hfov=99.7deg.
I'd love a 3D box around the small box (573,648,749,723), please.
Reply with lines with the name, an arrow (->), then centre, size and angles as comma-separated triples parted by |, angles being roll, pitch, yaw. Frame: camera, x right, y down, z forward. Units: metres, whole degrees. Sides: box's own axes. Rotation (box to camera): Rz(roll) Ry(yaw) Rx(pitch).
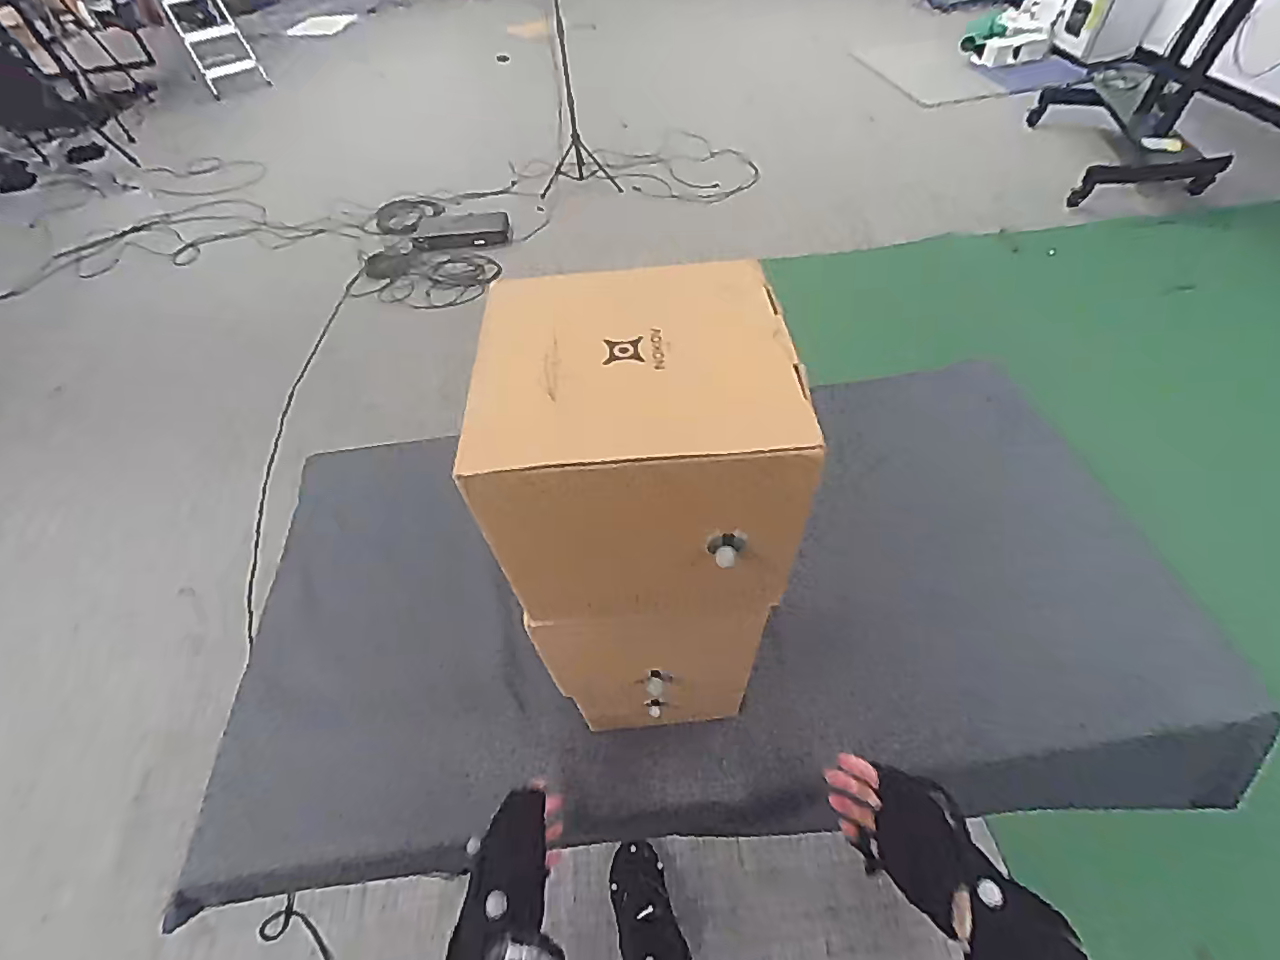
small box -> 0.018, 0.171, 0.629 | 0.179, 0.176, 0.168 | -6, 52, 0

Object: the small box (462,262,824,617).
small box -> 0.003, -0.021, 0.366 | 0.179, 0.176, 0.168 | -5, 51, 1

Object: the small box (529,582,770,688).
small box -> 0.005, 0.079, 0.495 | 0.179, 0.176, 0.168 | -5, 52, 0
